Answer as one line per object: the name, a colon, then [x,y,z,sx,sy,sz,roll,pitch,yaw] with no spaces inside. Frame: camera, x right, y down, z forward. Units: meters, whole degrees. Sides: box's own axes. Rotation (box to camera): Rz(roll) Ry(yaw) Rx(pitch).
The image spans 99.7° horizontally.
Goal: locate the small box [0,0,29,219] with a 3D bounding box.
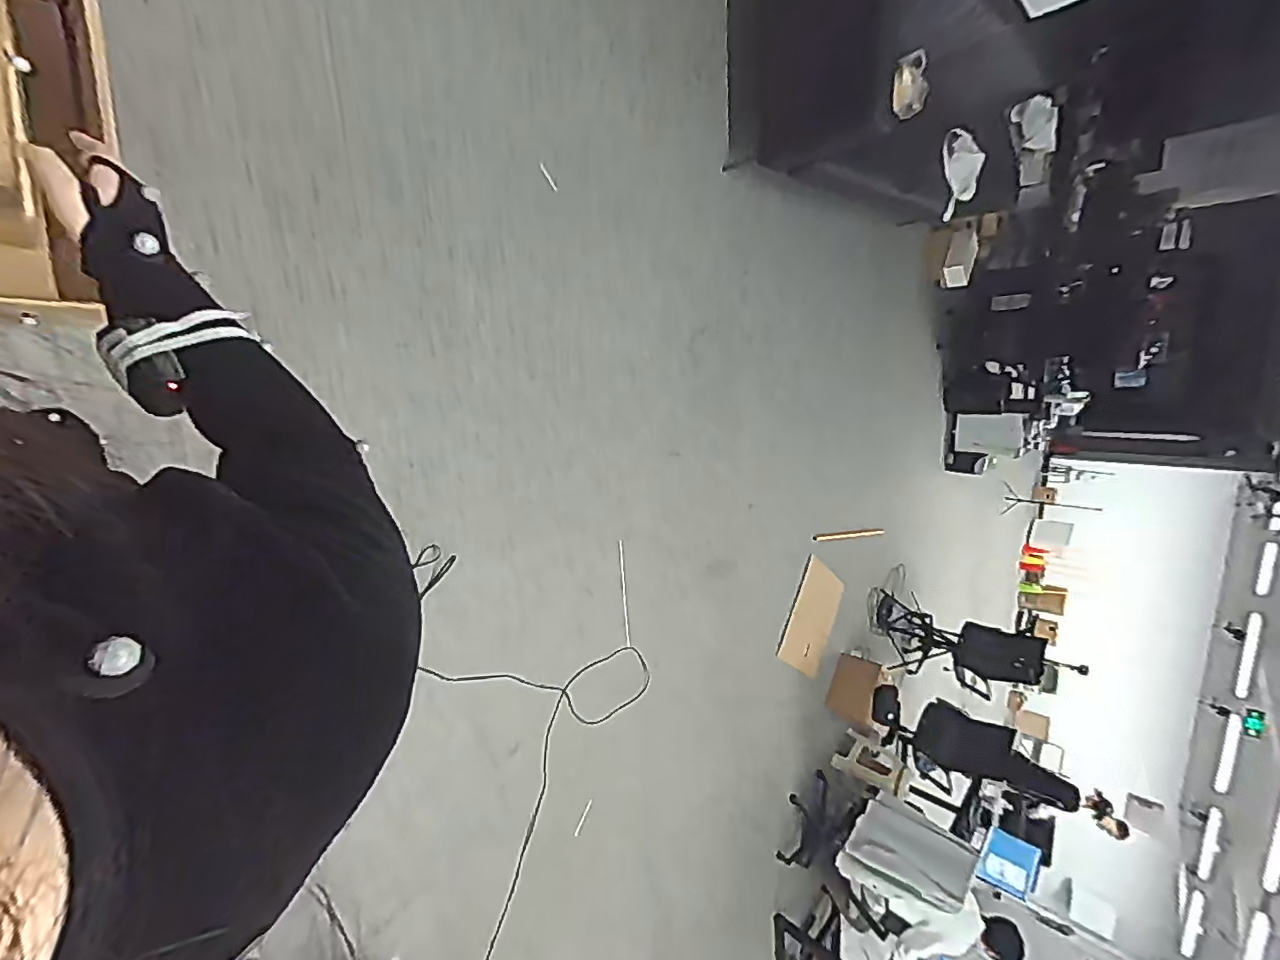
small box: [-0.646,-0.343,0.450,0.168,0.176,0.179,-6,102,-44]
